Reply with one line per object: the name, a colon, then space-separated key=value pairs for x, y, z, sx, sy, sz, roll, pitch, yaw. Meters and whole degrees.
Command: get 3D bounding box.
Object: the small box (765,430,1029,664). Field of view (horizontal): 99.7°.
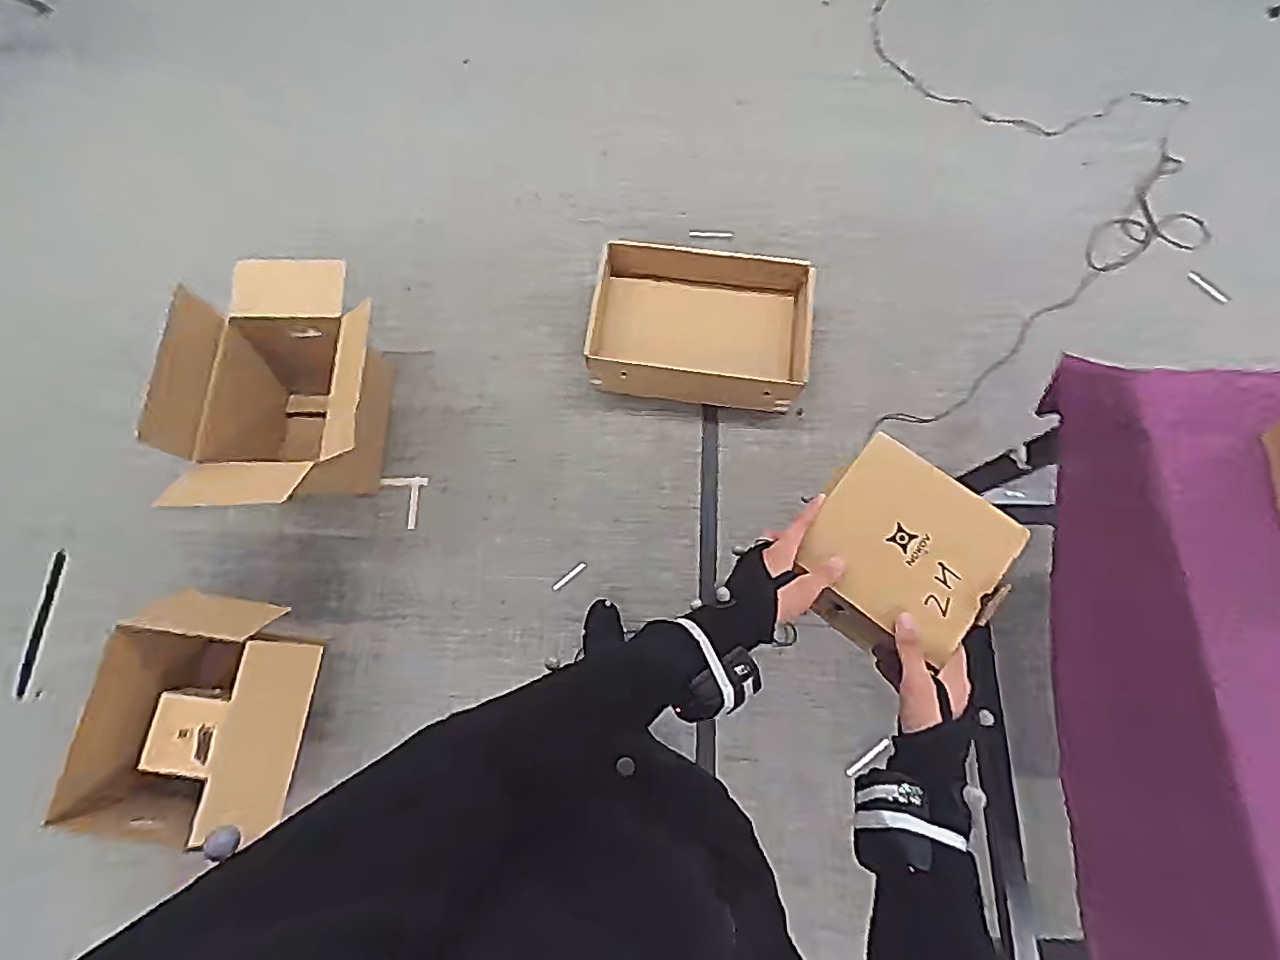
small box: x=0.262 y=0.079 z=0.600 sx=0.179 sy=0.176 sz=0.168 roll=38 pitch=81 yaw=11
